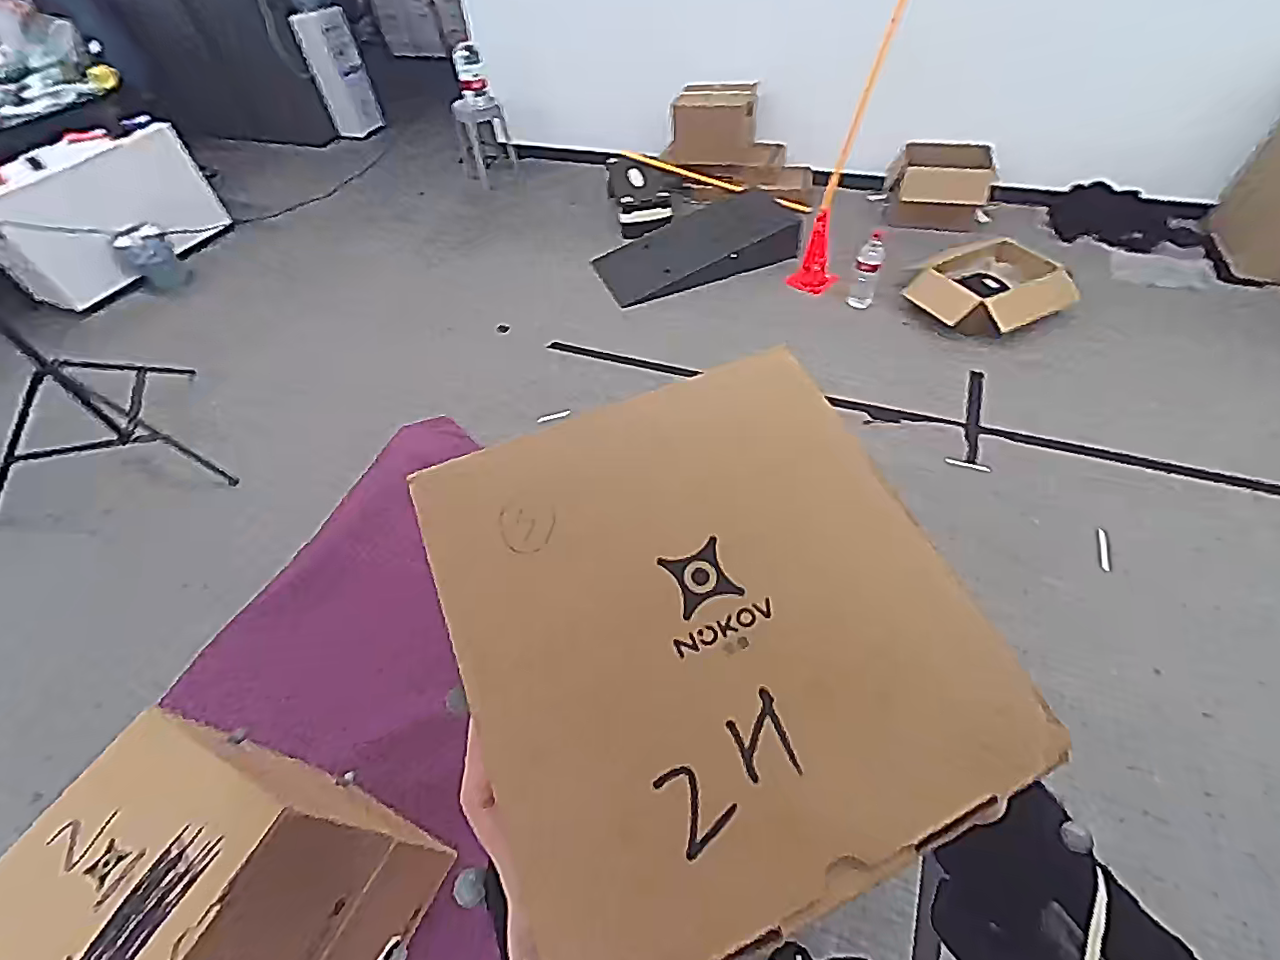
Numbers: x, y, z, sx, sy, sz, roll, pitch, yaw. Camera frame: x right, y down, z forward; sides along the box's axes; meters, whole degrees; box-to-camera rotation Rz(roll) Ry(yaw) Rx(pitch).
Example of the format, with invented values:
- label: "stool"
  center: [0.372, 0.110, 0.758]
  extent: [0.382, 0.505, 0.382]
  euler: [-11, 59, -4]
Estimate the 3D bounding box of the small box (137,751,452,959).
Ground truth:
- label: "small box"
  center: [-0.333, 0.417, 0.559]
  extent: [0.179, 0.176, 0.168]
  euler: [18, 56, 18]
